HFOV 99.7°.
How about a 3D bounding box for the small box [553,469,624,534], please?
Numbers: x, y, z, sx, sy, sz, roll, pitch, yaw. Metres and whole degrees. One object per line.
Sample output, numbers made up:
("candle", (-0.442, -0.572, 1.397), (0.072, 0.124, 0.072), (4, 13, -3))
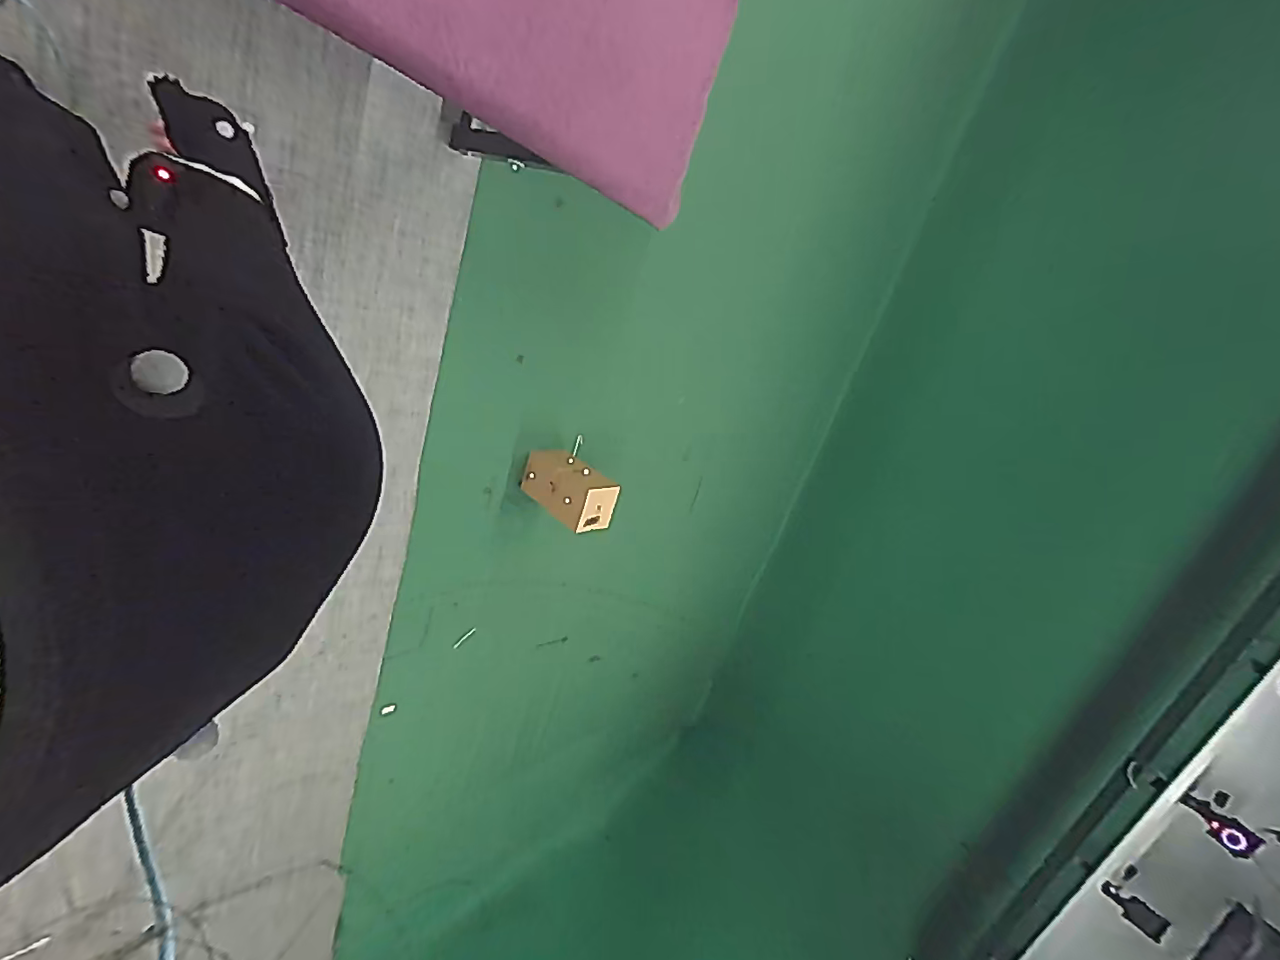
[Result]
("small box", (-0.195, 0.076, 1.978), (0.168, 0.176, 0.179), (-2, 119, -52))

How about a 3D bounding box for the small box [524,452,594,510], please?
("small box", (-0.311, -0.002, 2.068), (0.179, 0.176, 0.168), (-4, 118, -50))
